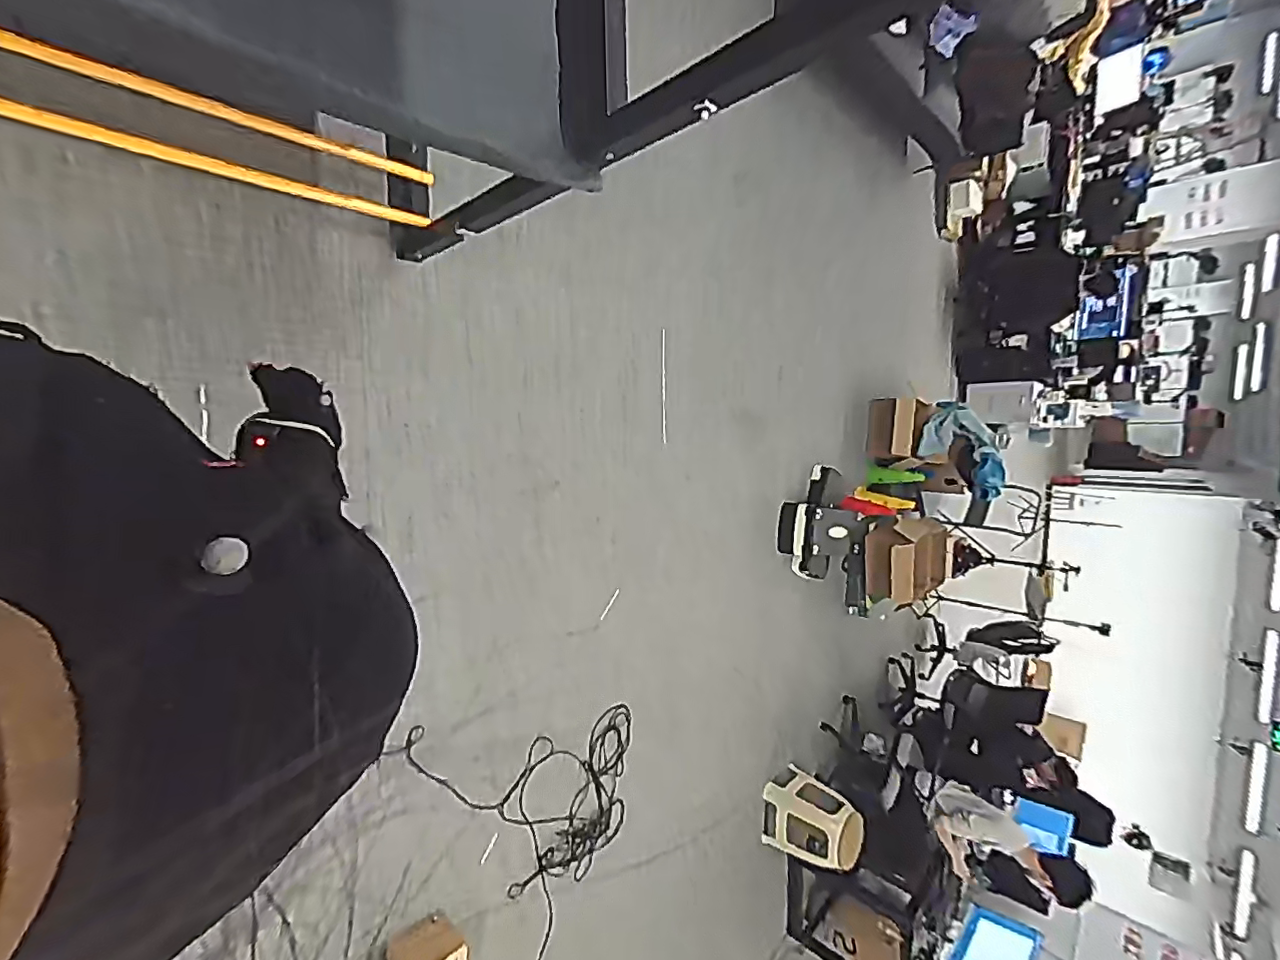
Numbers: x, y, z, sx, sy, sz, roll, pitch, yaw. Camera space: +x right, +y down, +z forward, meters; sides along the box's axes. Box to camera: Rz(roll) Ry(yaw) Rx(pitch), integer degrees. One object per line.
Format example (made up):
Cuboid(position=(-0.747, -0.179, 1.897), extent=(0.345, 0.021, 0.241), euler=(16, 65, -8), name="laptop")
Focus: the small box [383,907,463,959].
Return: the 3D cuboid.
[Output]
Cuboid(position=(-0.632, 1.393, 1.566), extent=(0.168, 0.176, 0.179), euler=(-1, 95, -47), name="small box")
